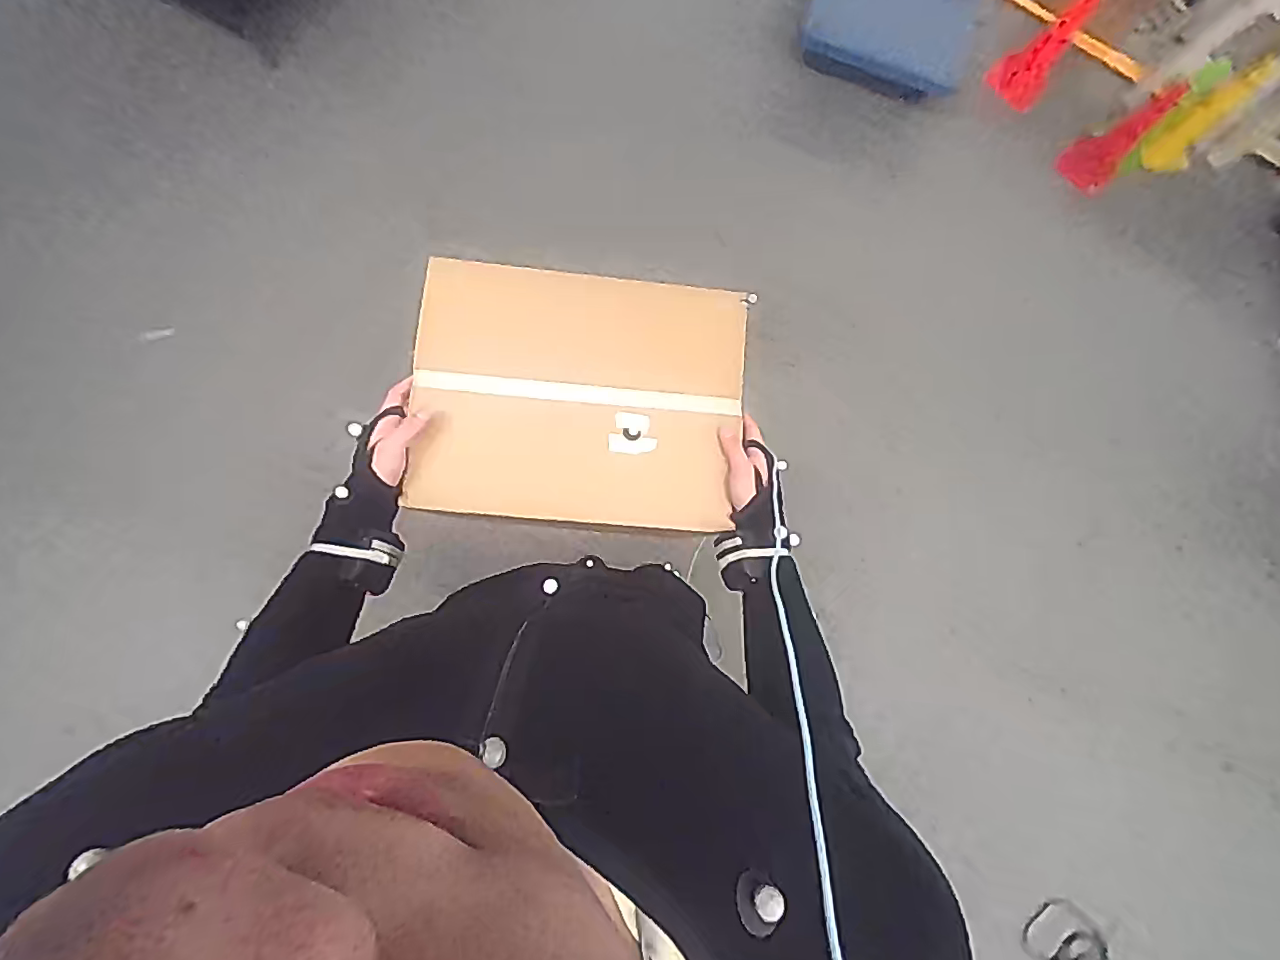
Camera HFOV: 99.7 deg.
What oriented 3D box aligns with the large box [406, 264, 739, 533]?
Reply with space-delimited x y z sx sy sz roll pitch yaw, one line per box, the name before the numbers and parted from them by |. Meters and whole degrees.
large box | -0.091 -0.089 0.821 0.408 0.320 0.320 5 82 -5
